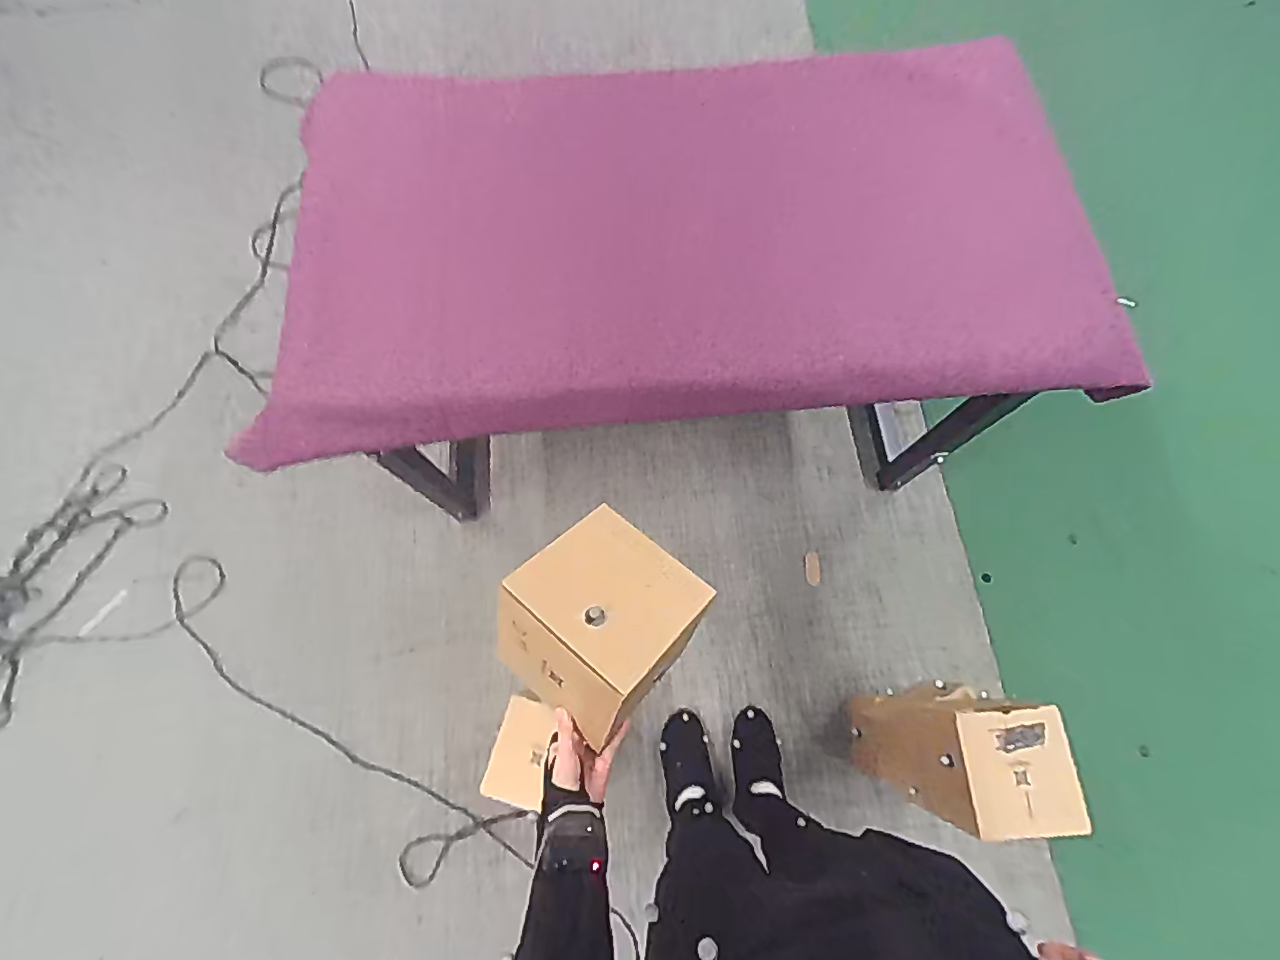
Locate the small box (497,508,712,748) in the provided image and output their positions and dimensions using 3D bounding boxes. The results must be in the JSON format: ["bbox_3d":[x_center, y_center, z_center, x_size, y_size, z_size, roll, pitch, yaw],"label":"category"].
[{"bbox_3d":[-0.043,0.164,0.629,0.179,0.168,0.176,38,49,18],"label":"small box"}]

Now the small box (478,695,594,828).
[{"bbox_3d":[-0.184,0.531,1.048,0.168,0.176,0.179,15,72,7],"label":"small box"}]

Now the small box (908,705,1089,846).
[{"bbox_3d":[0.564,0.467,0.882,0.168,0.176,0.179,-3,73,-1],"label":"small box"}]

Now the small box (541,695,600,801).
[{"bbox_3d":[-0.174,0.581,1.201,0.168,0.176,0.179,10,72,5],"label":"small box"}]

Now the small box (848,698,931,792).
[{"bbox_3d":[0.569,0.580,1.191,0.179,0.176,0.168,5,72,3],"label":"small box"}]
